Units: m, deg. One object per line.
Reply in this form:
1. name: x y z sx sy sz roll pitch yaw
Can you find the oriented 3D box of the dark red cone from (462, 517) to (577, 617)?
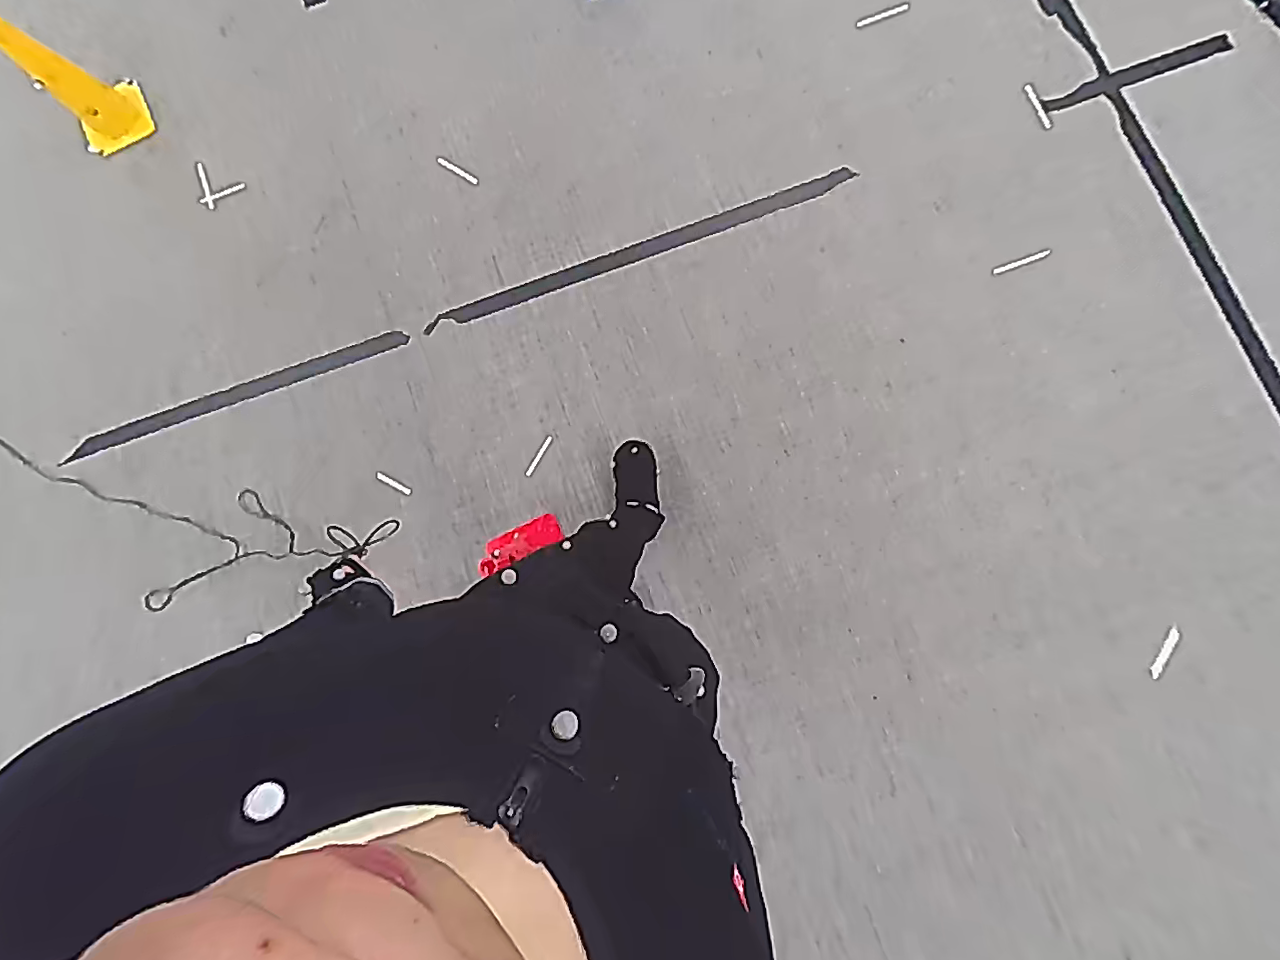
1. dark red cone: -0.289 0.192 1.174 0.202 0.394 0.201 -27 81 0
